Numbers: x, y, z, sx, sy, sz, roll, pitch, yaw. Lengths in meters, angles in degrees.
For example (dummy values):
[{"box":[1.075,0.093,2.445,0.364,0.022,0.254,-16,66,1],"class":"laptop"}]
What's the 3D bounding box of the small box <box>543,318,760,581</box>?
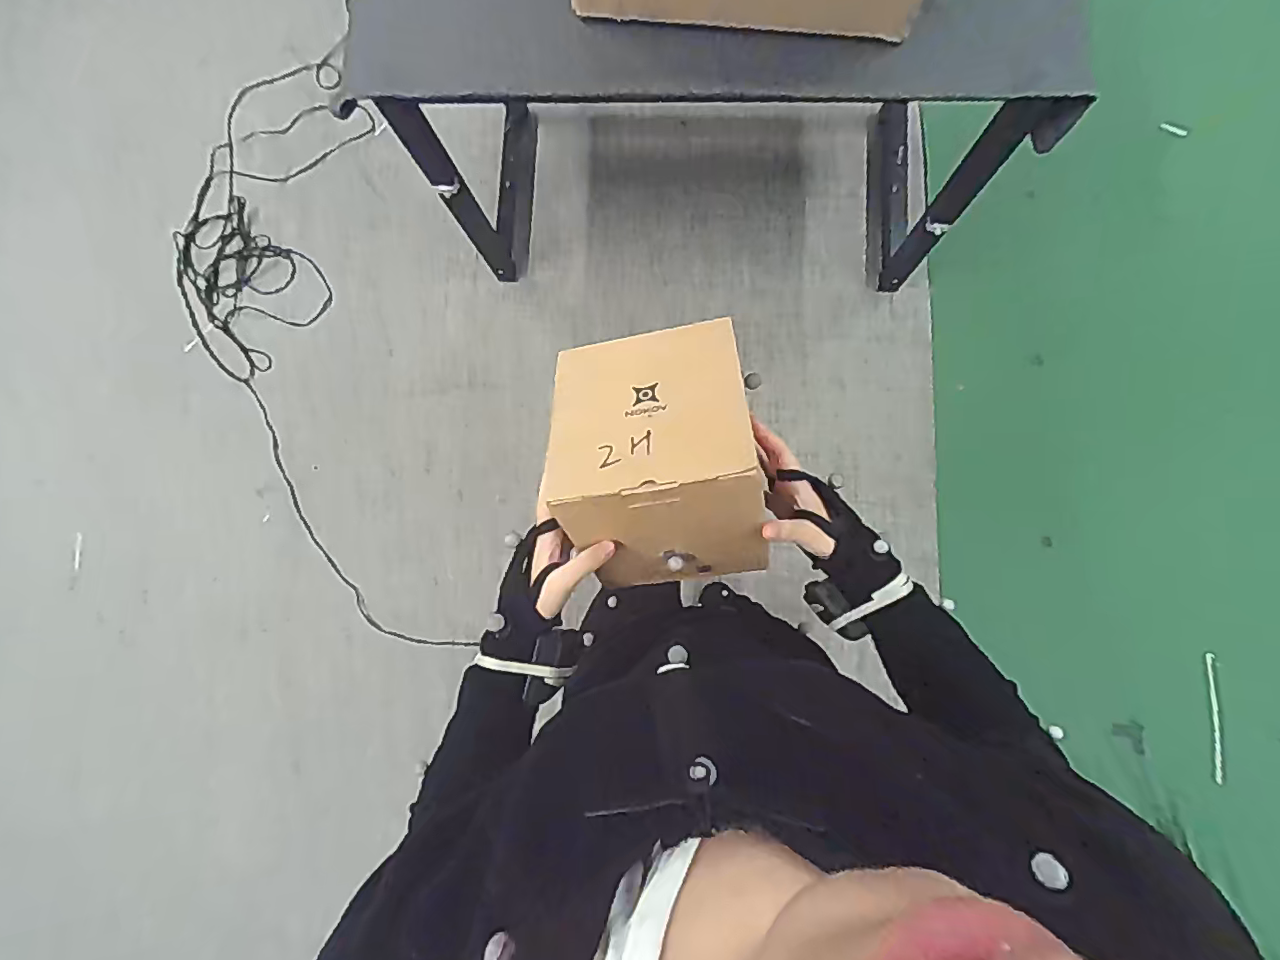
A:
[{"box":[0.020,-0.022,0.520,0.168,0.176,0.179,-8,55,11],"class":"small box"}]
